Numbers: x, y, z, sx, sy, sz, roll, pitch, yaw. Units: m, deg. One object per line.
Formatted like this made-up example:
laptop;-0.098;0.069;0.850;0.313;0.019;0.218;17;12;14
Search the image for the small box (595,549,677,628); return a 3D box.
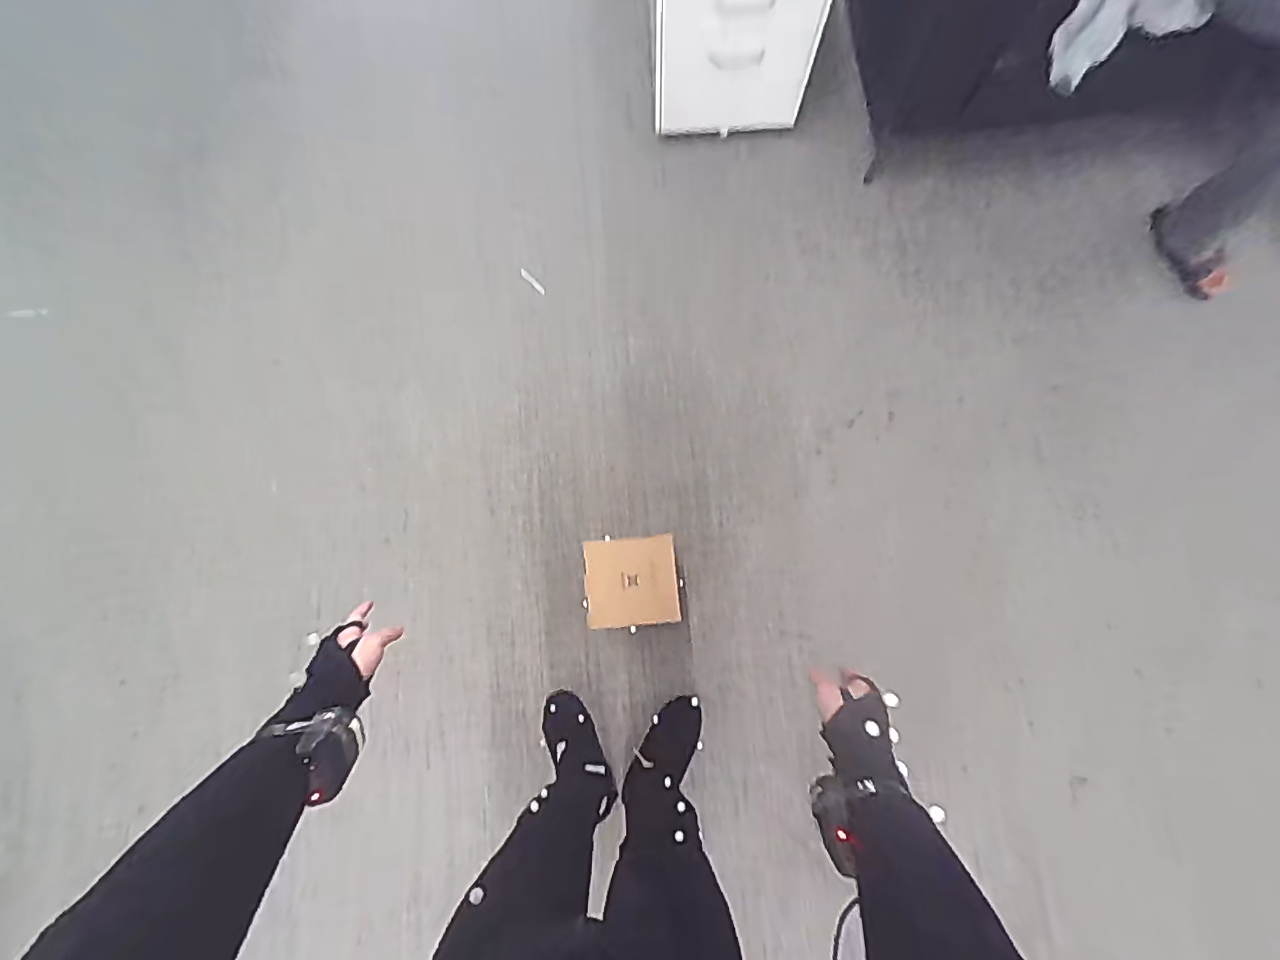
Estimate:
small box;-0.011;0.254;1.267;0.179;0.176;0.168;-4;77;-1
